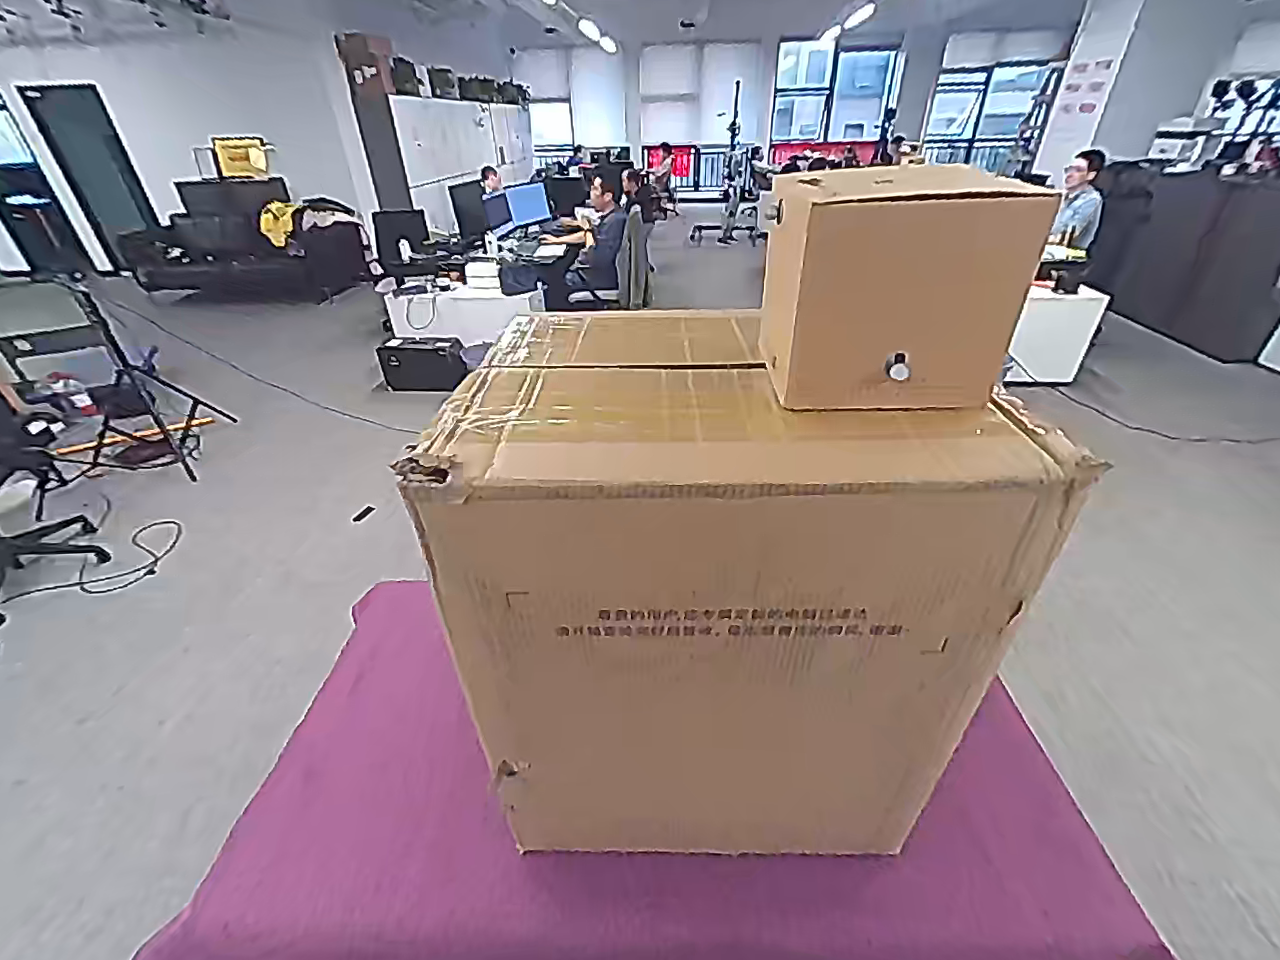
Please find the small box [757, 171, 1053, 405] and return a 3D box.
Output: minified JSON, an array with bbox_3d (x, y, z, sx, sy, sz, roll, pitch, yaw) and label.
[{"bbox_3d":[0.212,-0.176,0.495,0.179,0.176,0.168,0,34,3],"label":"small box"}]
